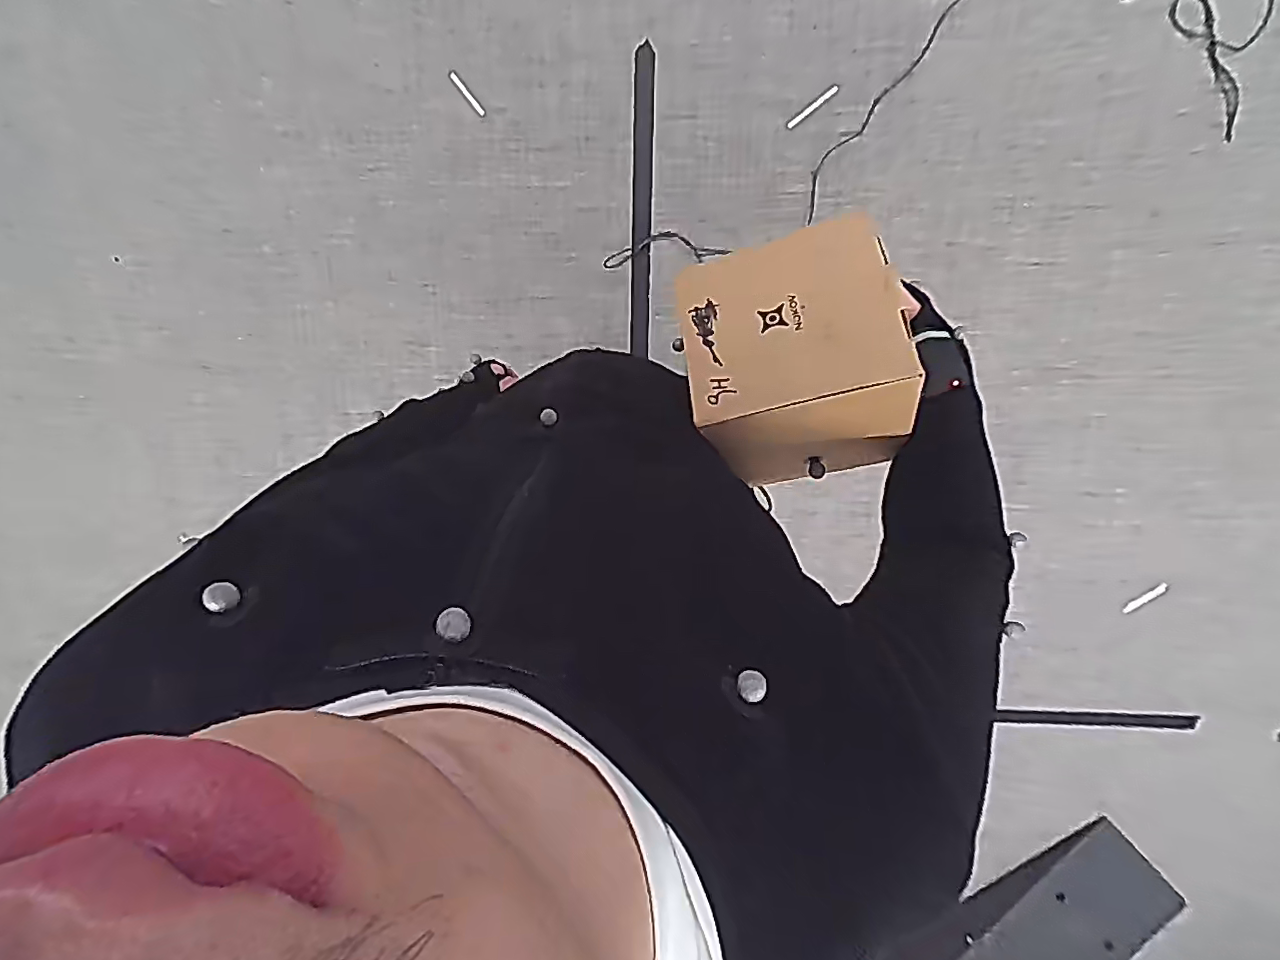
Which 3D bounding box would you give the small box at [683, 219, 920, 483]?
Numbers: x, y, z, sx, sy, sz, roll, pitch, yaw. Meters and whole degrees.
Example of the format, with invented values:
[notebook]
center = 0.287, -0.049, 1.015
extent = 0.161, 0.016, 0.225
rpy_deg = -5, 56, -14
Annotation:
[small box]
center = 0.153, -0.111, 0.534
extent = 0.179, 0.176, 0.168
rpy_deg = -12, 66, 17
